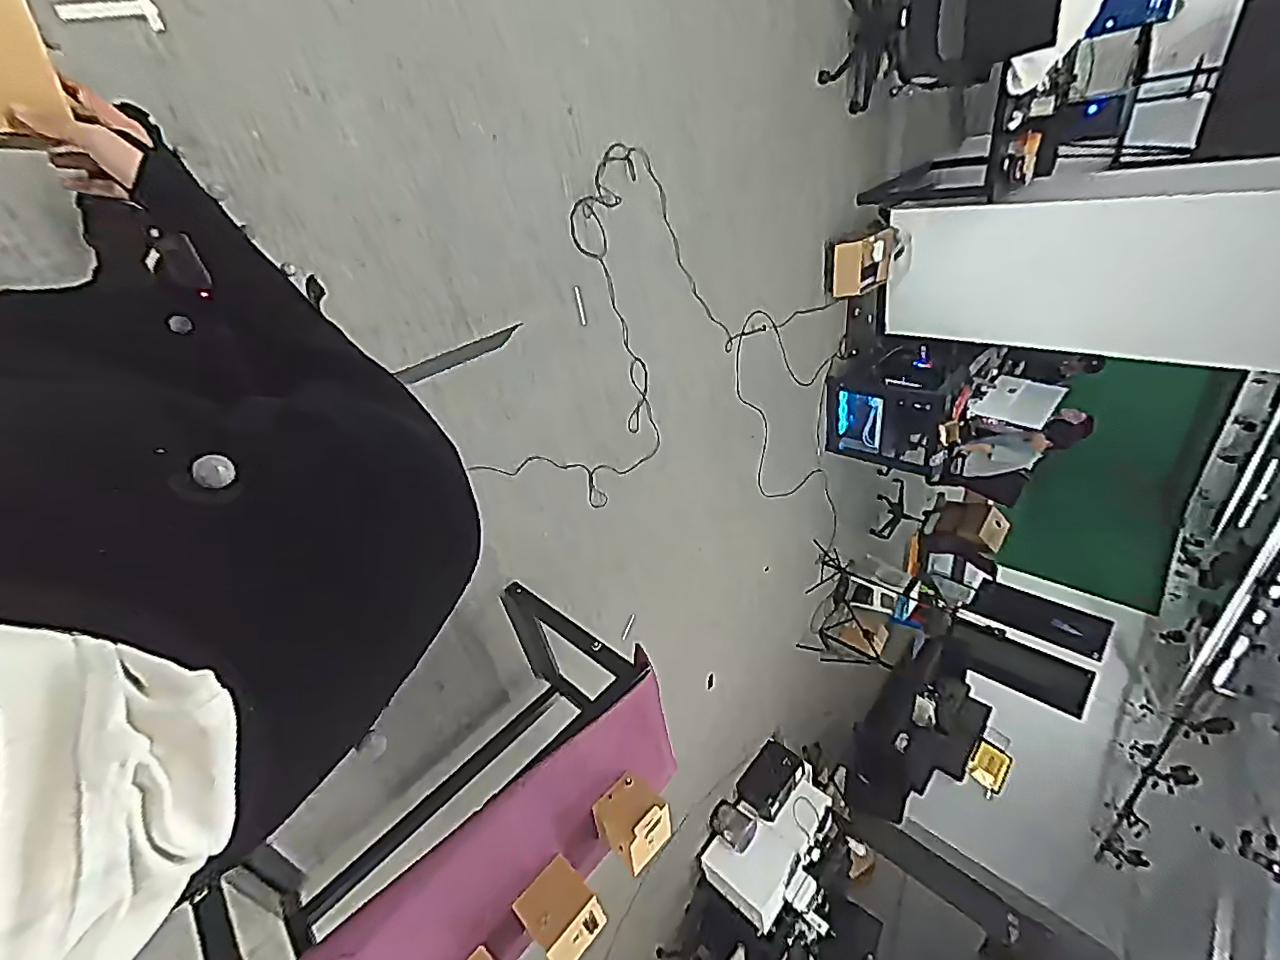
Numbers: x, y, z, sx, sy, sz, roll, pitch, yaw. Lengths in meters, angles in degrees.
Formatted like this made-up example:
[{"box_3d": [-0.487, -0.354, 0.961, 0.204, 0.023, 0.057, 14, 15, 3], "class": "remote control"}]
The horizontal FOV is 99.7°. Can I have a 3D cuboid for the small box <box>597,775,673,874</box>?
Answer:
[{"box_3d": [-0.018, 1.066, 1.694, 0.168, 0.176, 0.179, -29, 126, -36], "class": "small box"}]

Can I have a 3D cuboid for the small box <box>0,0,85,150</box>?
[{"box_3d": [-0.611, -0.374, 0.433, 0.168, 0.176, 0.179, -31, 131, -42], "class": "small box"}]

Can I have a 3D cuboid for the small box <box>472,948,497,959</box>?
[{"box_3d": [-0.406, 1.381, 1.400, 0.179, 0.176, 0.168, -36, 127, -34], "class": "small box"}]
